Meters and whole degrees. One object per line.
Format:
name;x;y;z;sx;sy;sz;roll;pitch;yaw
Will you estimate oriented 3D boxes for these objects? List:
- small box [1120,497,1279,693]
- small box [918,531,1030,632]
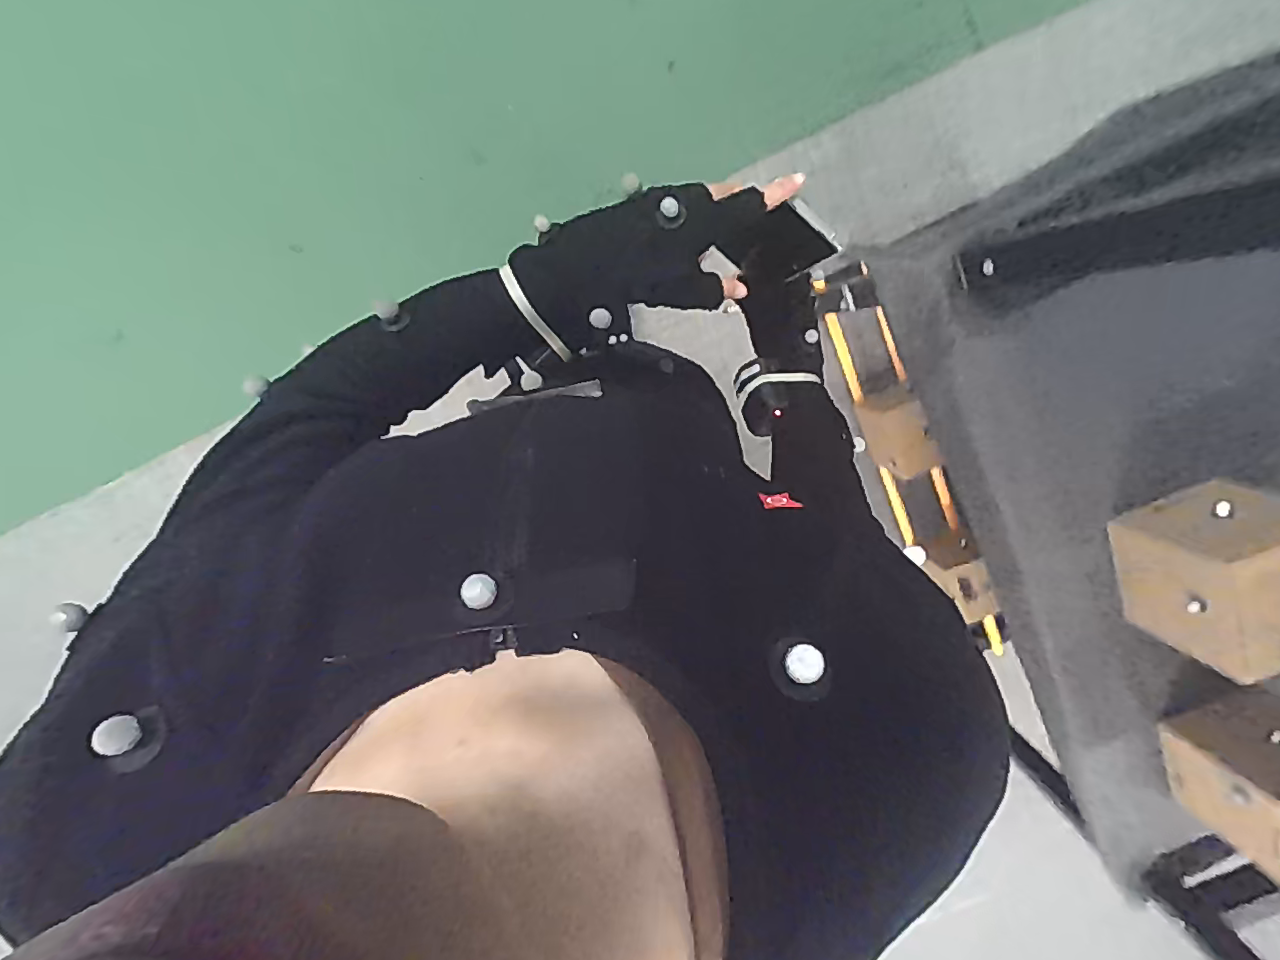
small box;0.785;0.135;0.710;0.168;0.176;0.179;-22;104;3
small box;0.841;0.254;1.385;0.179;0.176;0.168;-22;104;3
